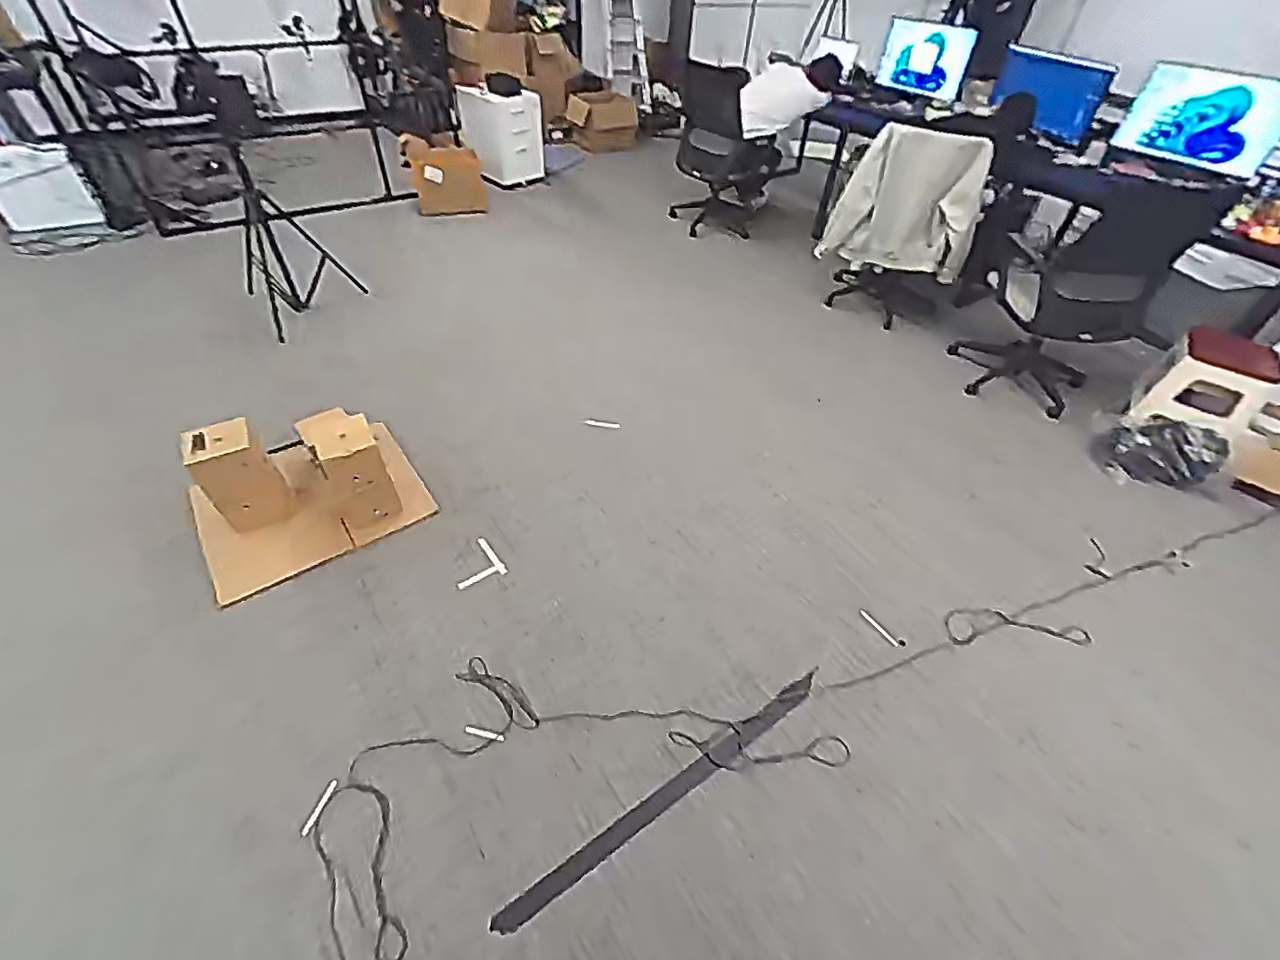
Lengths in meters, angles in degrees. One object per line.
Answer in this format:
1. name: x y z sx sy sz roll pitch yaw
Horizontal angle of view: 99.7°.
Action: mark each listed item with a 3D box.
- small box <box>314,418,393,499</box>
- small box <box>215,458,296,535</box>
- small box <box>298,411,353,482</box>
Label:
1. small box: -0.936 -0.069 1.772 0.168 0.176 0.179 -23 53 -24
2. small box: -1.309 0.060 1.847 0.179 0.176 0.168 -20 50 -20
3. small box: -1.148 -0.127 2.046 0.179 0.176 0.168 -31 54 -28
